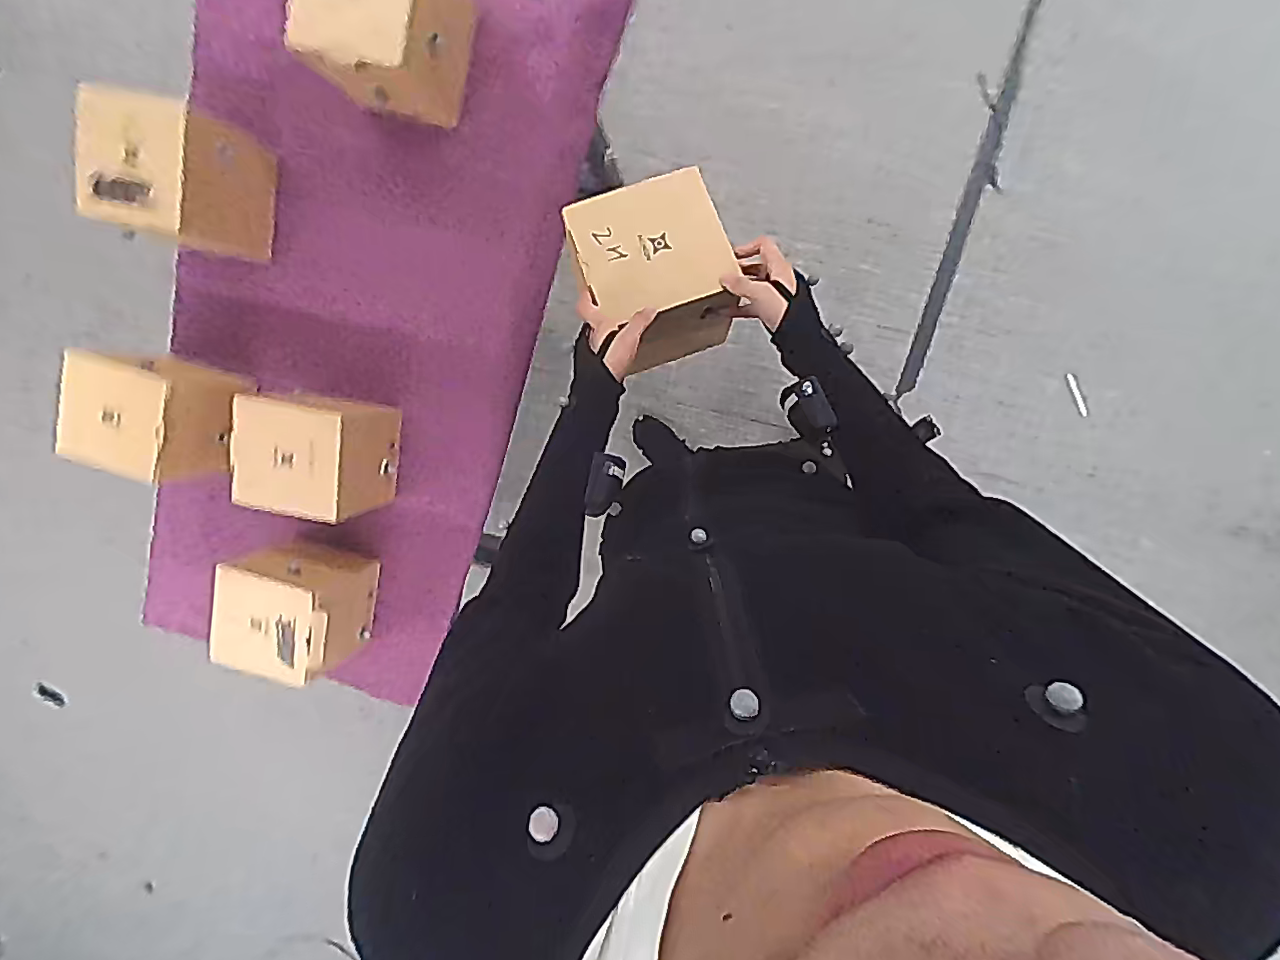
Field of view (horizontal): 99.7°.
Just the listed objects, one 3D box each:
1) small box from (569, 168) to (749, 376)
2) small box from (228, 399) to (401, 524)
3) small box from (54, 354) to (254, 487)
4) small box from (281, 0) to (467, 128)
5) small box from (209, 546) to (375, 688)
[{"bbox_3d":[0.020,-0.259,0.709,0.179,0.176,0.168,-19,80,-3],"label":"small box"},{"bbox_3d":[-0.524,-0.039,0.885,0.179,0.176,0.168,10,101,5],"label":"small box"},{"bbox_3d":[-0.800,-0.100,0.902,0.179,0.176,0.168,17,100,3],"label":"small box"},{"bbox_3d":[-0.366,-0.640,0.769,0.168,0.176,0.179,16,102,3],"label":"small box"},{"bbox_3d":[-0.588,0.224,0.932,0.179,0.176,0.168,13,100,6],"label":"small box"}]
